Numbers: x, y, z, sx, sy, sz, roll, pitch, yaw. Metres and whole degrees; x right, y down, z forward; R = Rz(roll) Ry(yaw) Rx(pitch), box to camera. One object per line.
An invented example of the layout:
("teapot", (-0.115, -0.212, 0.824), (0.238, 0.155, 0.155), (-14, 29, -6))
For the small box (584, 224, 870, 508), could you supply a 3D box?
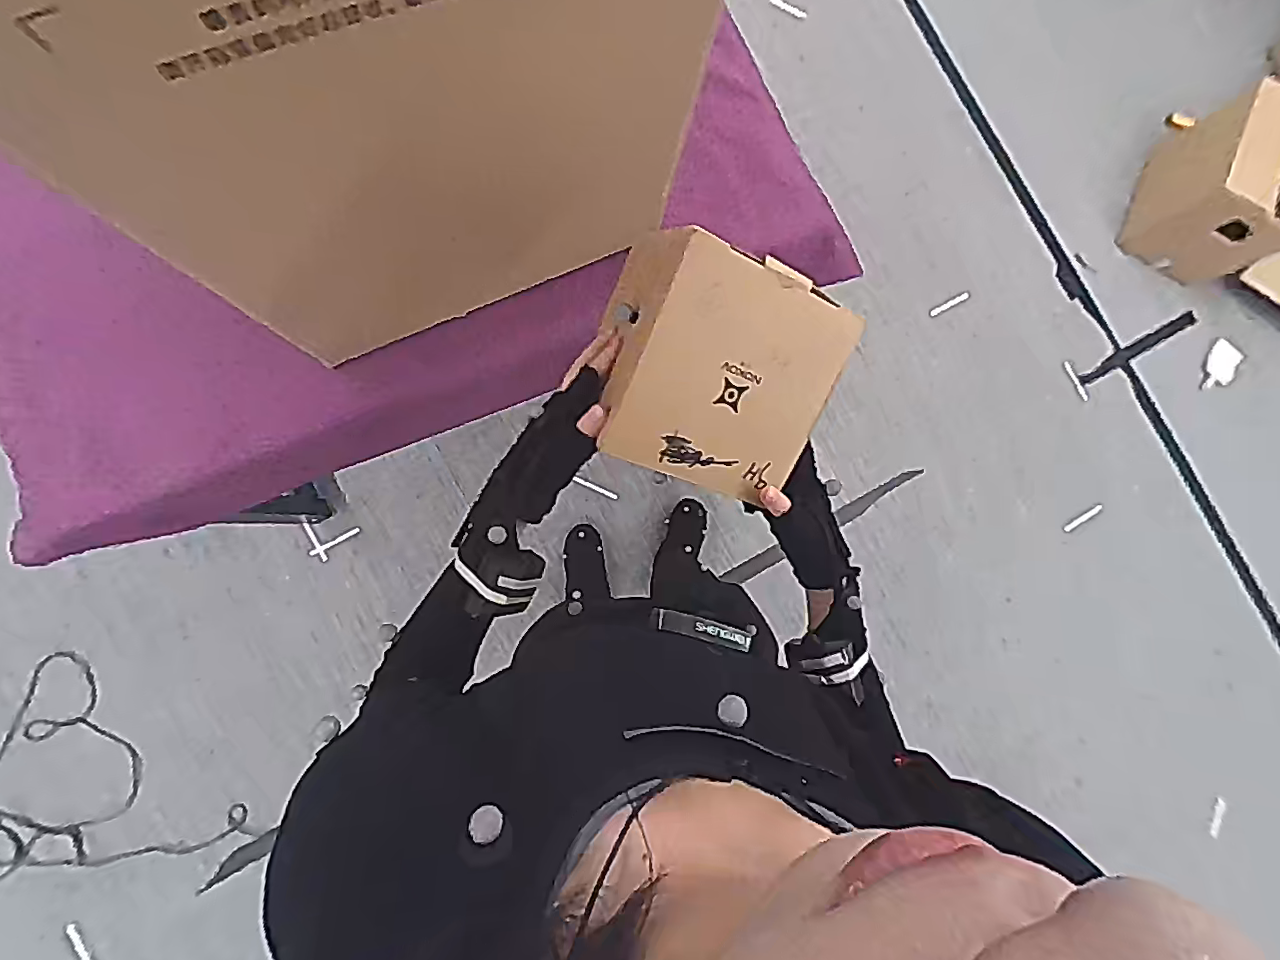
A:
("small box", (0.060, -0.103, 0.492), (0.168, 0.176, 0.179), (19, 103, -21))
